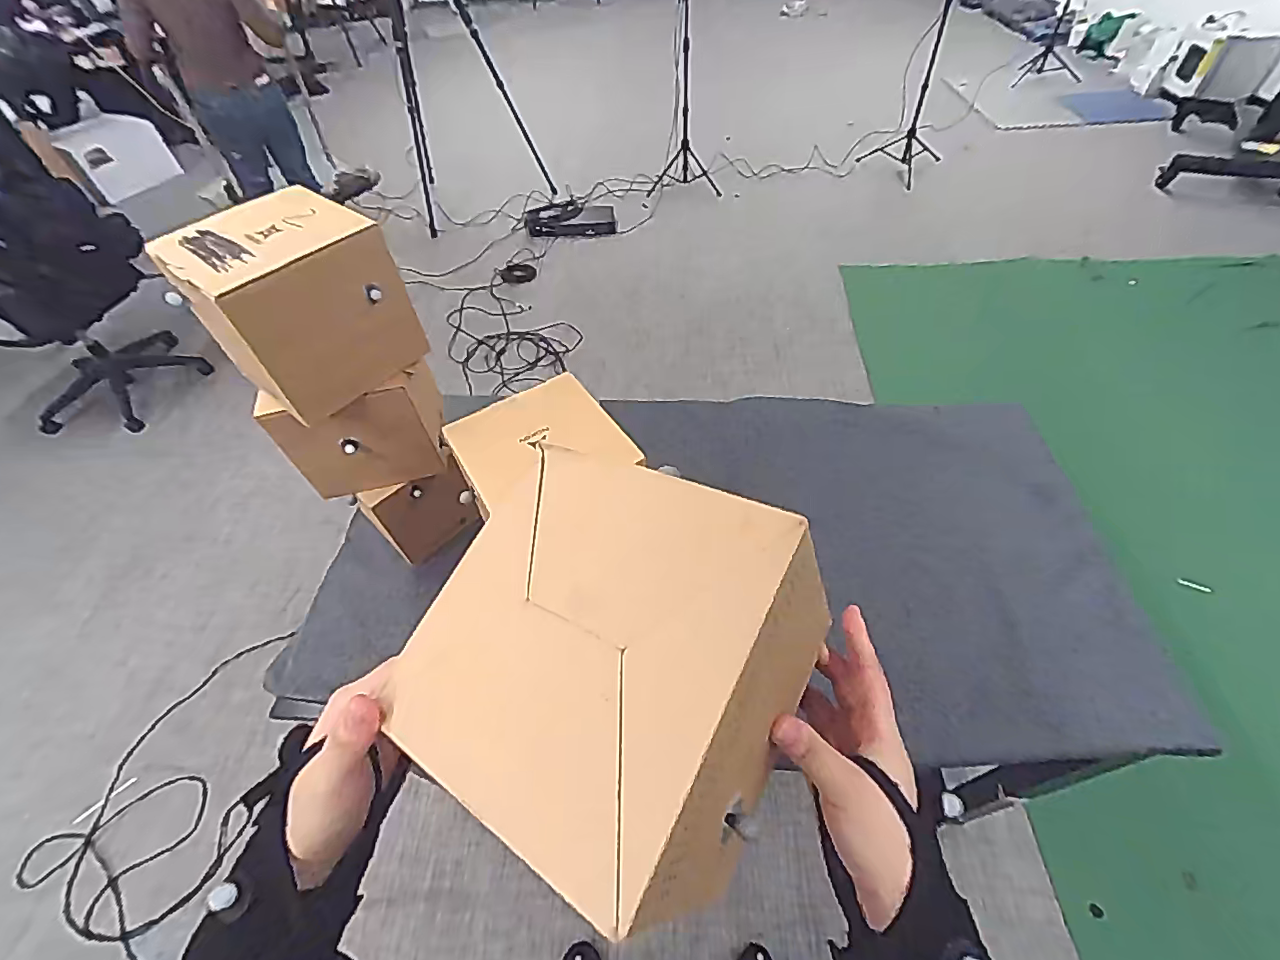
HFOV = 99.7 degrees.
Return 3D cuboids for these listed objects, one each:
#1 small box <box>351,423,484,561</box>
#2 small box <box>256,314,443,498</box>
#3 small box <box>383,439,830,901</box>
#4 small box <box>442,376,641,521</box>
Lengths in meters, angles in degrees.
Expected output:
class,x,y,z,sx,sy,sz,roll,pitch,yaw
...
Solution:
class,x,y,z,sx,sy,sz,roll,pitch,yaw
small box,-0.375,0.000,0.887,0.179,0.176,0.168,35,61,28
small box,-0.385,-0.100,0.756,0.179,0.176,0.168,-14,52,-7
small box,-0.006,0.104,0.316,0.168,0.176,0.179,20,72,31
small box,-0.104,0.014,0.644,0.168,0.176,0.179,-28,54,-18
